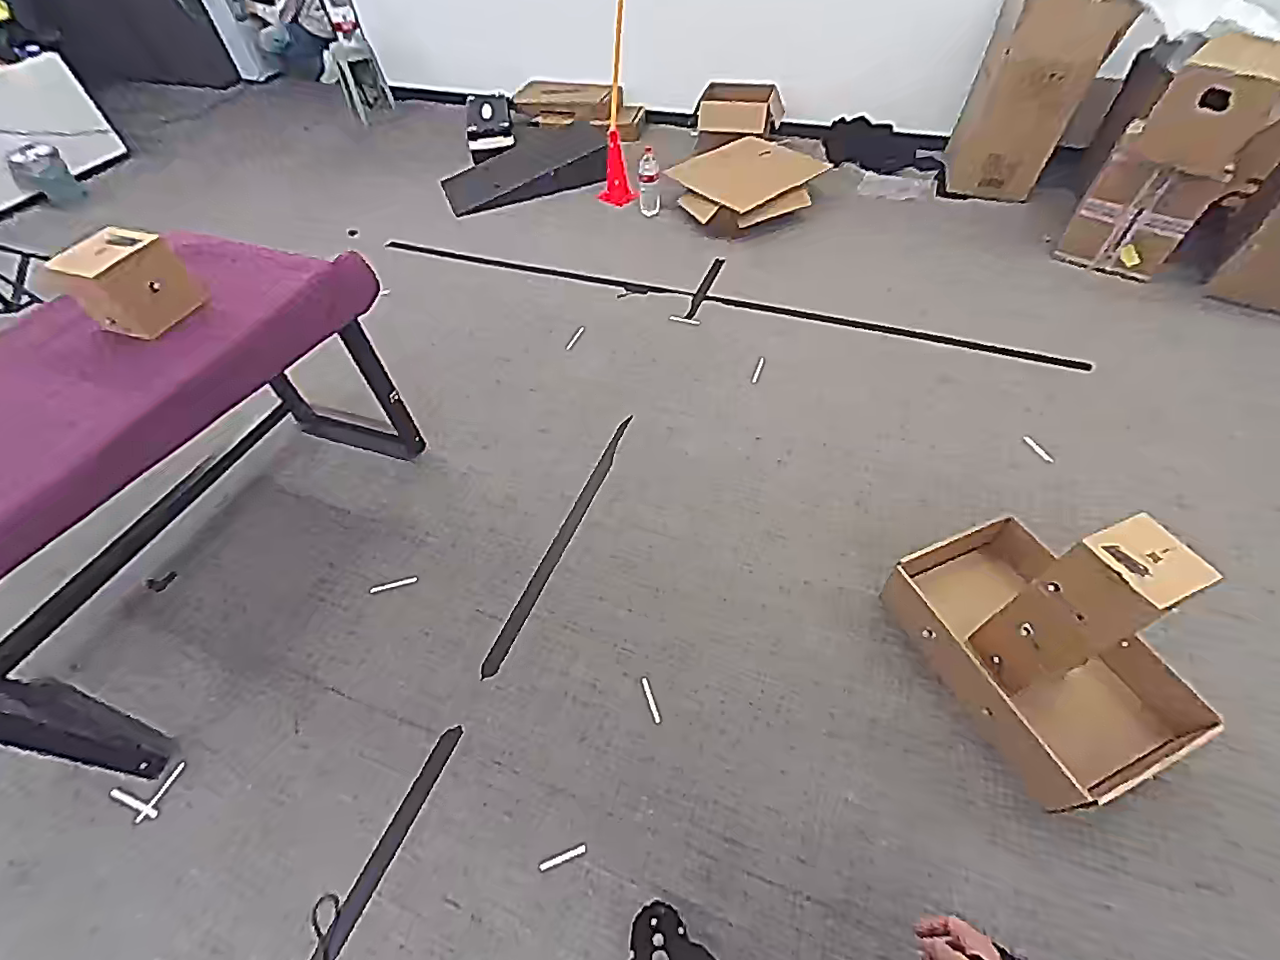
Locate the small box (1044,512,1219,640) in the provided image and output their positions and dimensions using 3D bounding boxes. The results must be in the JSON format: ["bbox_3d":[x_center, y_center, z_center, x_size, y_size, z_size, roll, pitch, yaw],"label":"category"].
[{"bbox_3d":[0.972,0.198,1.095,0.179,0.176,0.168,-18,53,-13],"label":"small box"}]

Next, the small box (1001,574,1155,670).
[{"bbox_3d":[0.974,0.302,1.222,0.179,0.176,0.168,-18,52,-10],"label":"small box"}]

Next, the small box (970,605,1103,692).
[{"bbox_3d":[0.978,0.402,1.349,0.179,0.176,0.168,-17,53,-10],"label":"small box"}]
